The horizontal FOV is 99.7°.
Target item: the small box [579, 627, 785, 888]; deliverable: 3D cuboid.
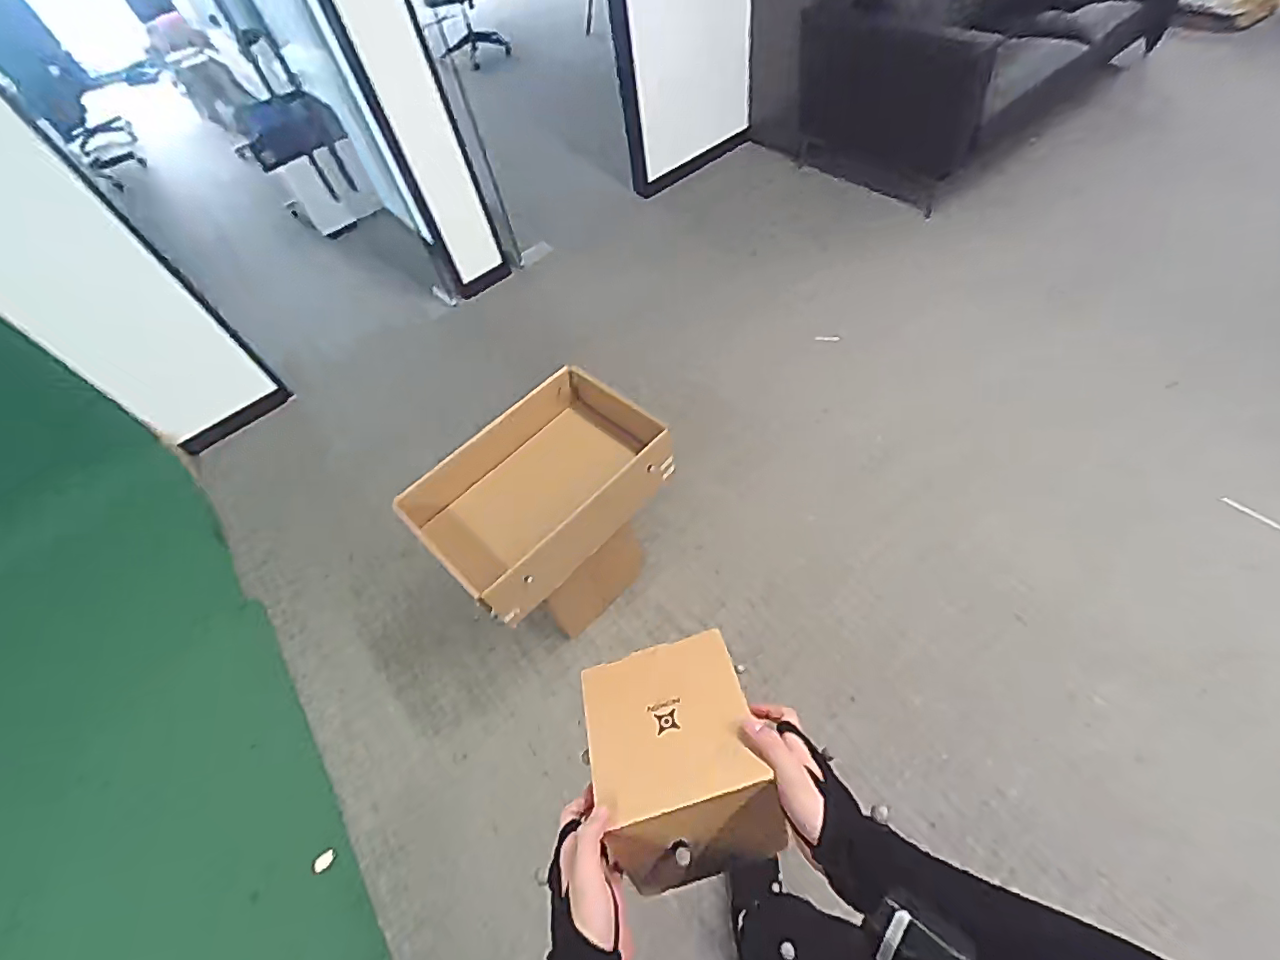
[{"bbox_3d":[0.043,0.296,0.576,0.168,0.176,0.179,-17,33,-2],"label":"small box"}]
